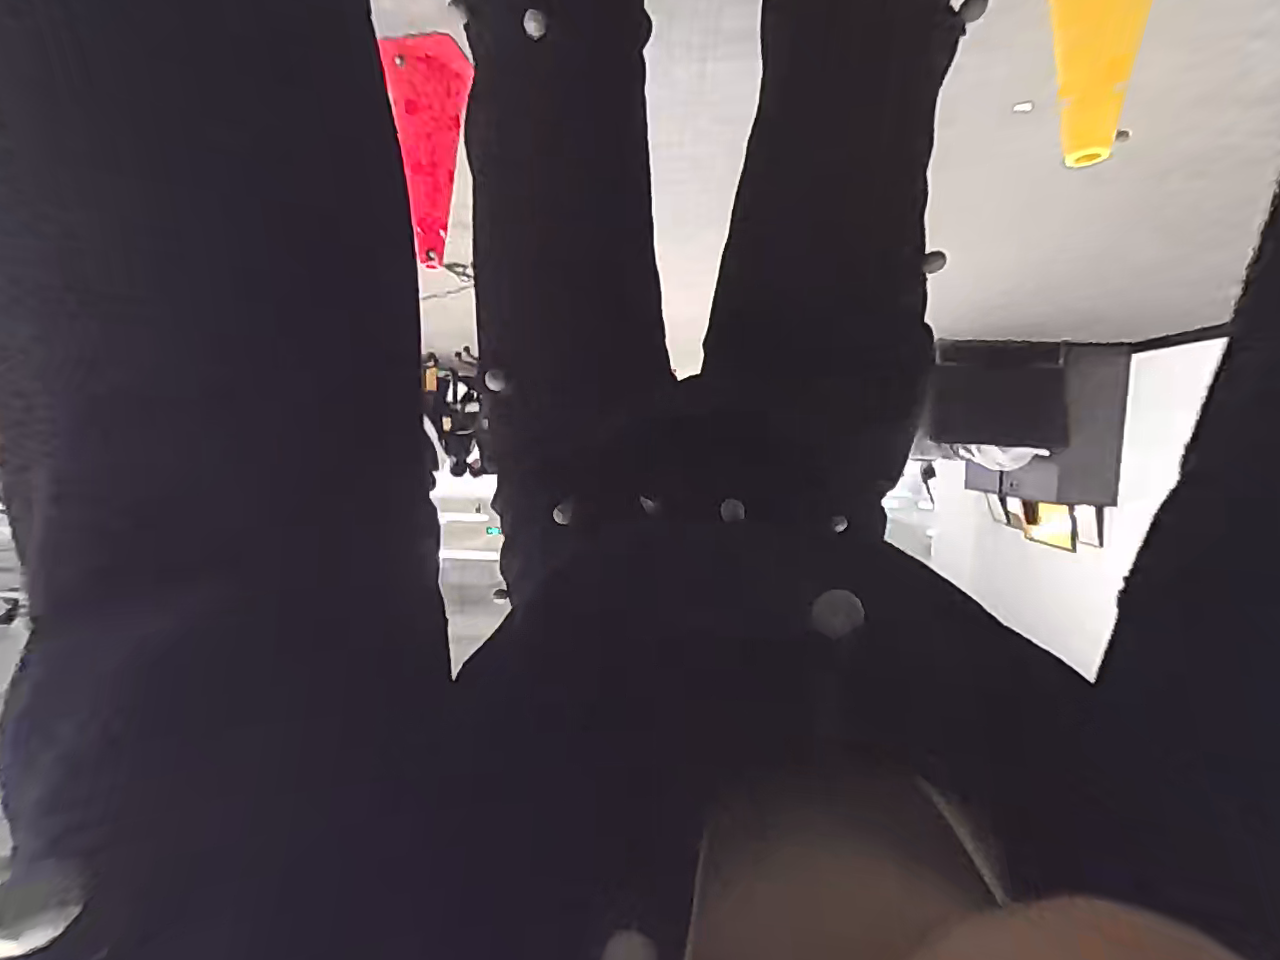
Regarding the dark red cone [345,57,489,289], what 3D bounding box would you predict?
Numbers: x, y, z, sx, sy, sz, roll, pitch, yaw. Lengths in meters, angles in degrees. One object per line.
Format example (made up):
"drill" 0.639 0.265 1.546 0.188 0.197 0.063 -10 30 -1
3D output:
"dark red cone" -0.422 -0.566 1.034 0.202 0.394 0.201 2 -178 11
